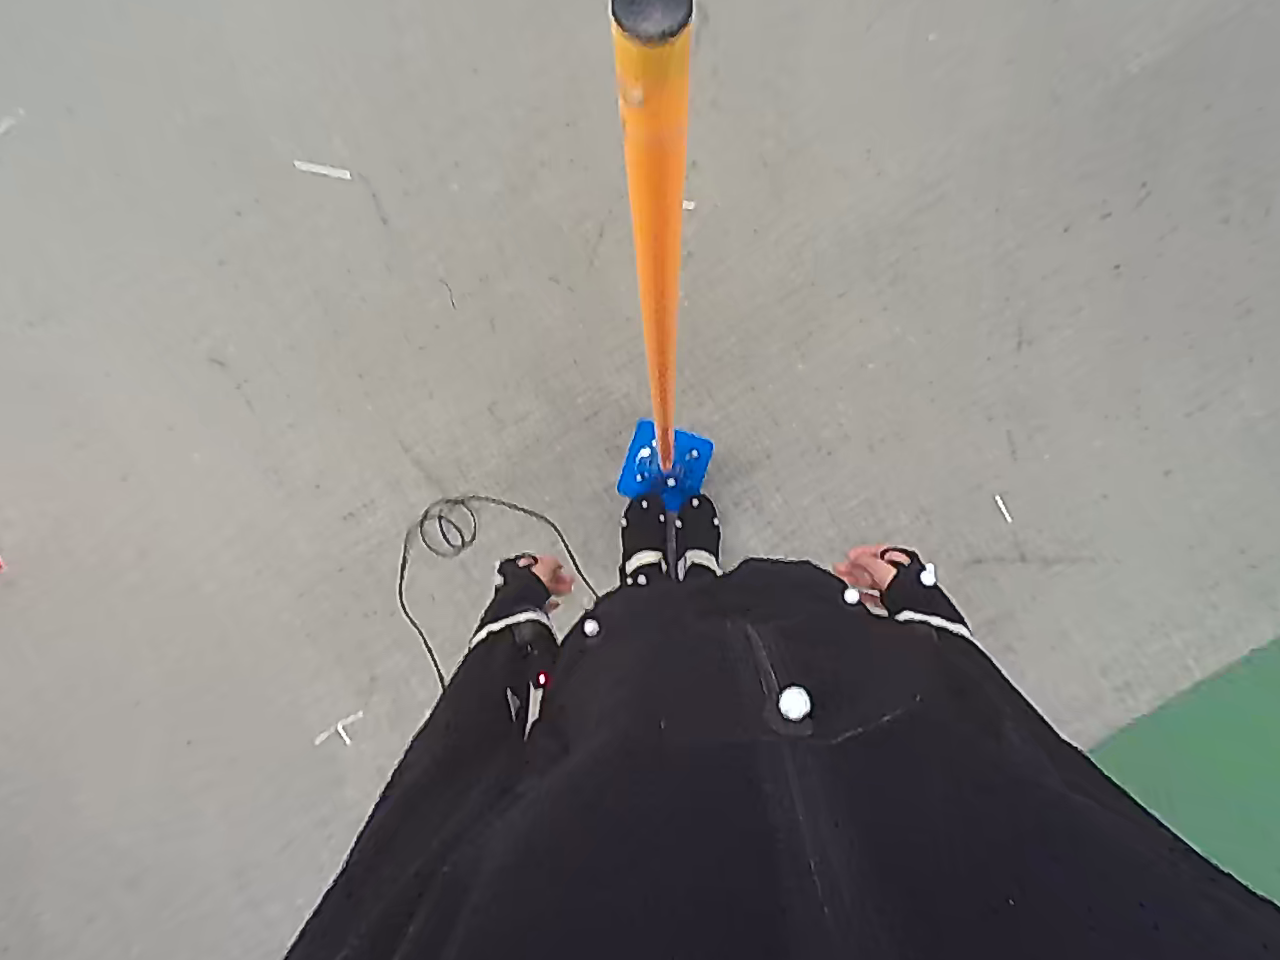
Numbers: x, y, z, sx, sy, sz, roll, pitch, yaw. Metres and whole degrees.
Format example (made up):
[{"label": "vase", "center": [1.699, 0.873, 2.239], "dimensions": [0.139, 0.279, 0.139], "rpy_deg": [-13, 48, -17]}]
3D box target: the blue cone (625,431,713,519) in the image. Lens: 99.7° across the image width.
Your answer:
[{"label": "blue cone", "center": [0.063, -0.015, 1.147], "dimensions": [0.192, 0.380, 0.193], "rpy_deg": [17, 90, 2]}]
